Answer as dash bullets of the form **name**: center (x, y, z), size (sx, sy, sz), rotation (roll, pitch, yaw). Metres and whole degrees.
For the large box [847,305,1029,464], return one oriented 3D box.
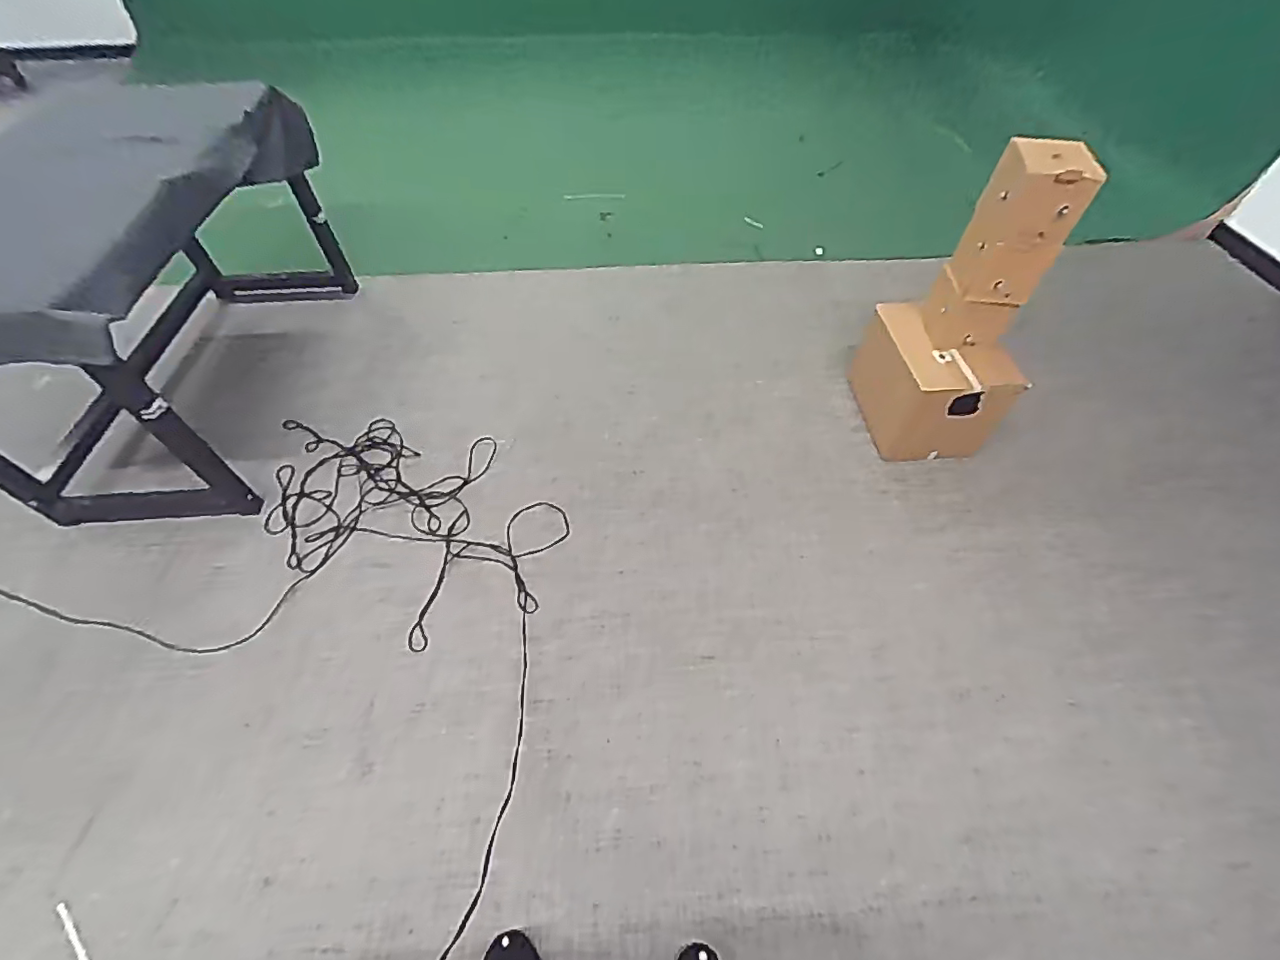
- **large box**: center (0.915, -0.306, 1.732), size (0.320, 0.320, 0.408), rotation (-4, 54, -2)

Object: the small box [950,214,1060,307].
- **small box**: center (0.954, -0.587, 1.435), size (0.168, 0.176, 0.179), rotation (6, 54, 4)

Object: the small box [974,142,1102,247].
- **small box**: center (0.948, -0.686, 1.306), size (0.168, 0.176, 0.179), rotation (7, 53, 4)
